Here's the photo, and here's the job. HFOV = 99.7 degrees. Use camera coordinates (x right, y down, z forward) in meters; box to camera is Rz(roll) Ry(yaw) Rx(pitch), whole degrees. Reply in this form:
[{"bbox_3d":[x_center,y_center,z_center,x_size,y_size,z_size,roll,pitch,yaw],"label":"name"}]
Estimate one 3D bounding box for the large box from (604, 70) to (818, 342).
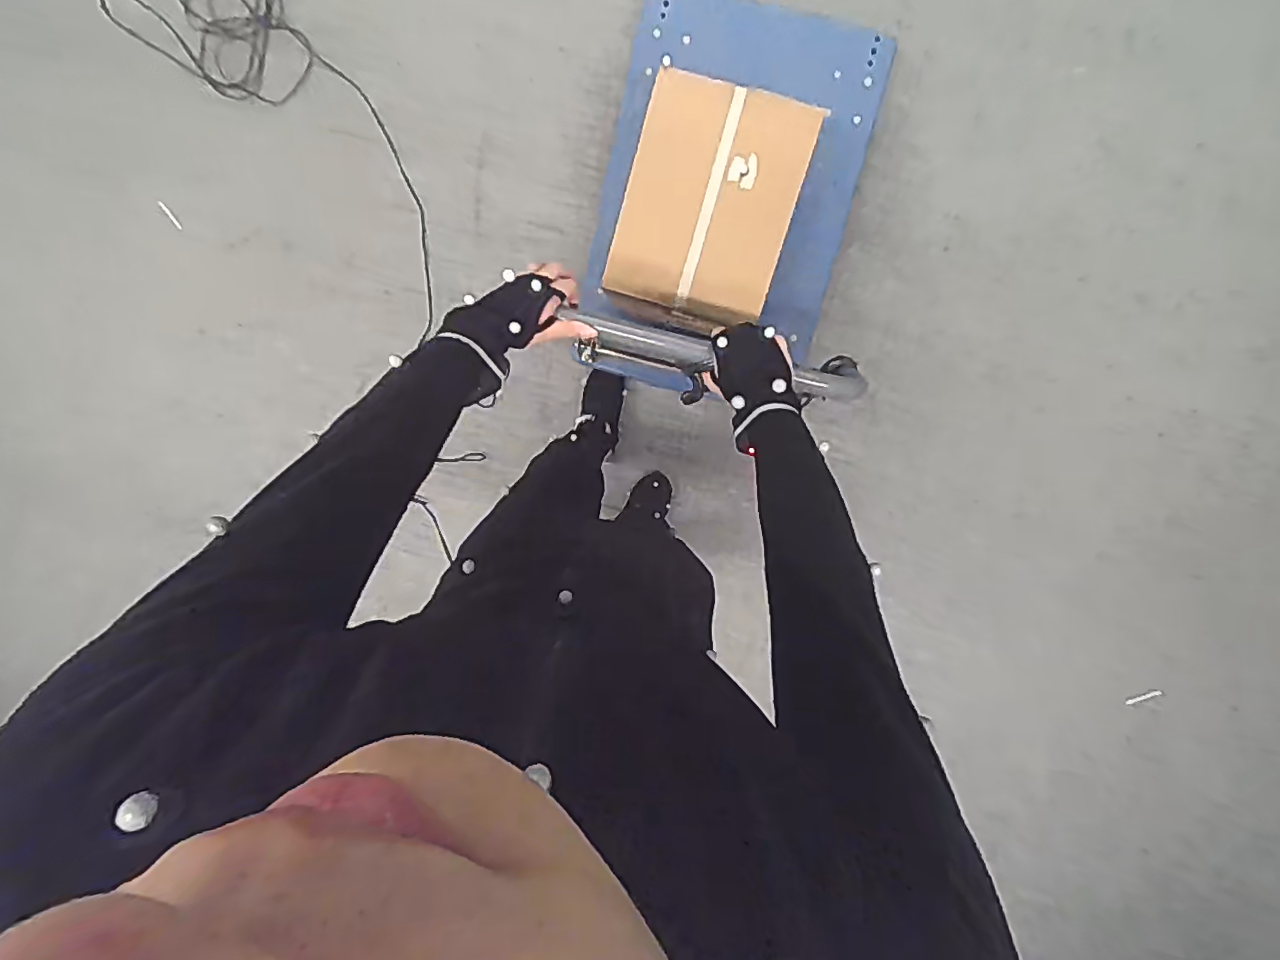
[{"bbox_3d":[0.138,-0.542,1.160,0.320,0.320,0.408,17,100,1],"label":"large box"}]
